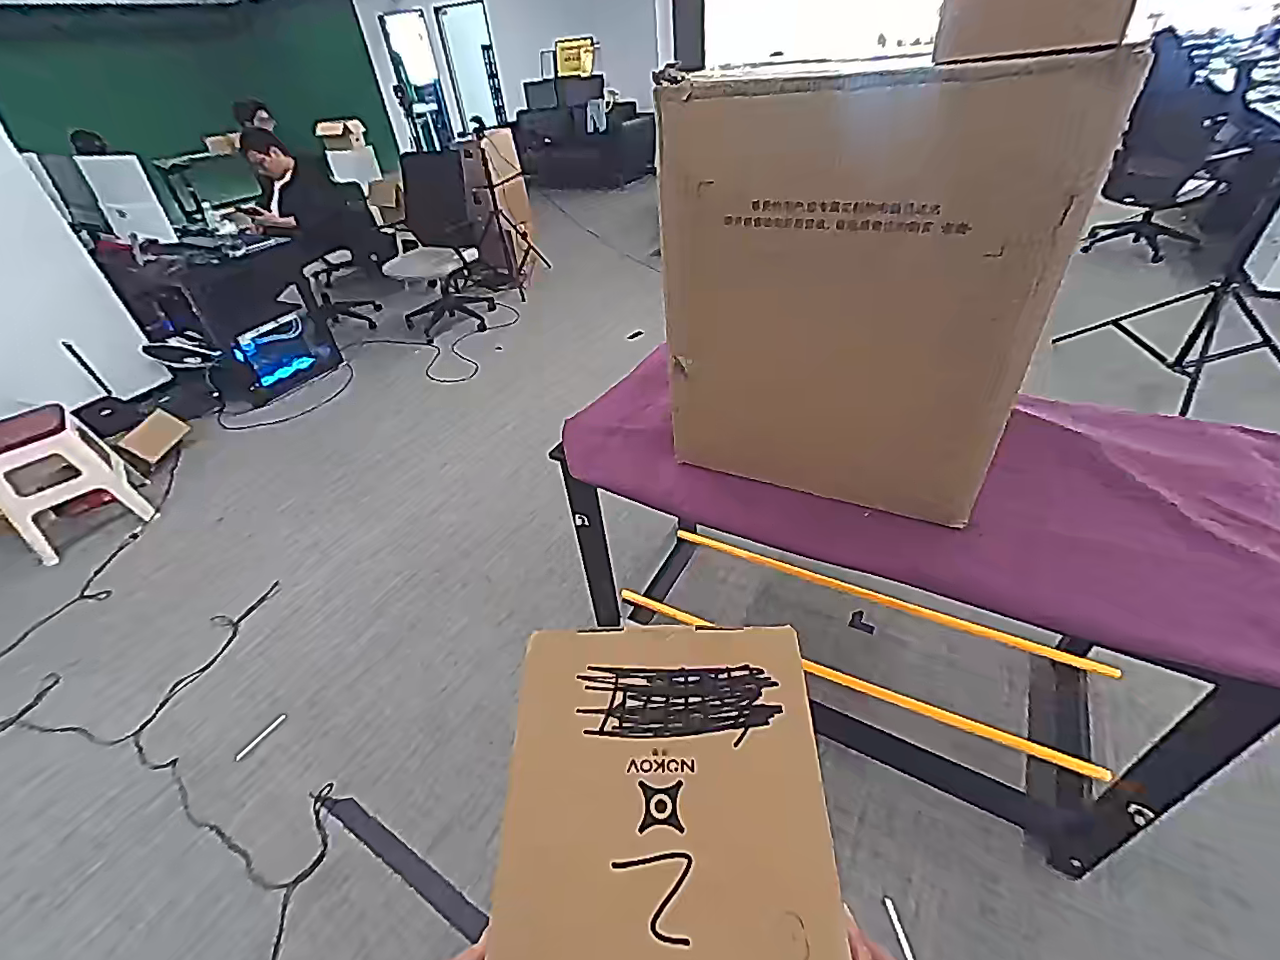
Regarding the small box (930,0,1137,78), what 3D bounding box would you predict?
[{"bbox_3d":[0.412,-0.528,0.549,0.168,0.176,0.179,16,43,27],"label":"small box"}]
